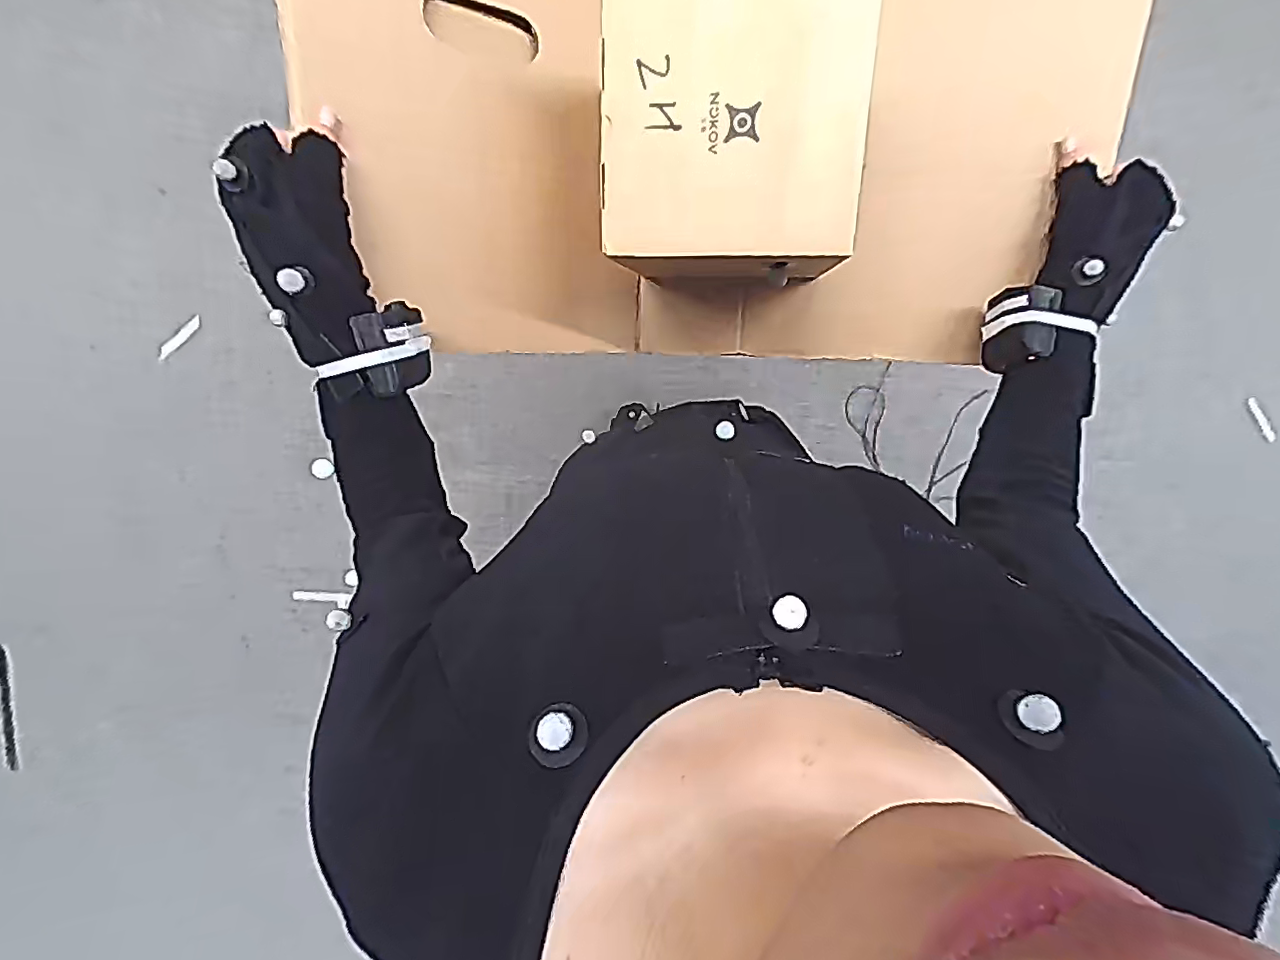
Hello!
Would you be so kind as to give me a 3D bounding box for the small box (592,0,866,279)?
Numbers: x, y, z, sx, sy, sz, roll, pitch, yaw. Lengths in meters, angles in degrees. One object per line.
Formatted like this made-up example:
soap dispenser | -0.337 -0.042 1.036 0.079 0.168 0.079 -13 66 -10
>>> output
small box | 0.066 -0.260 0.440 0.179 0.176 0.168 4 106 10
